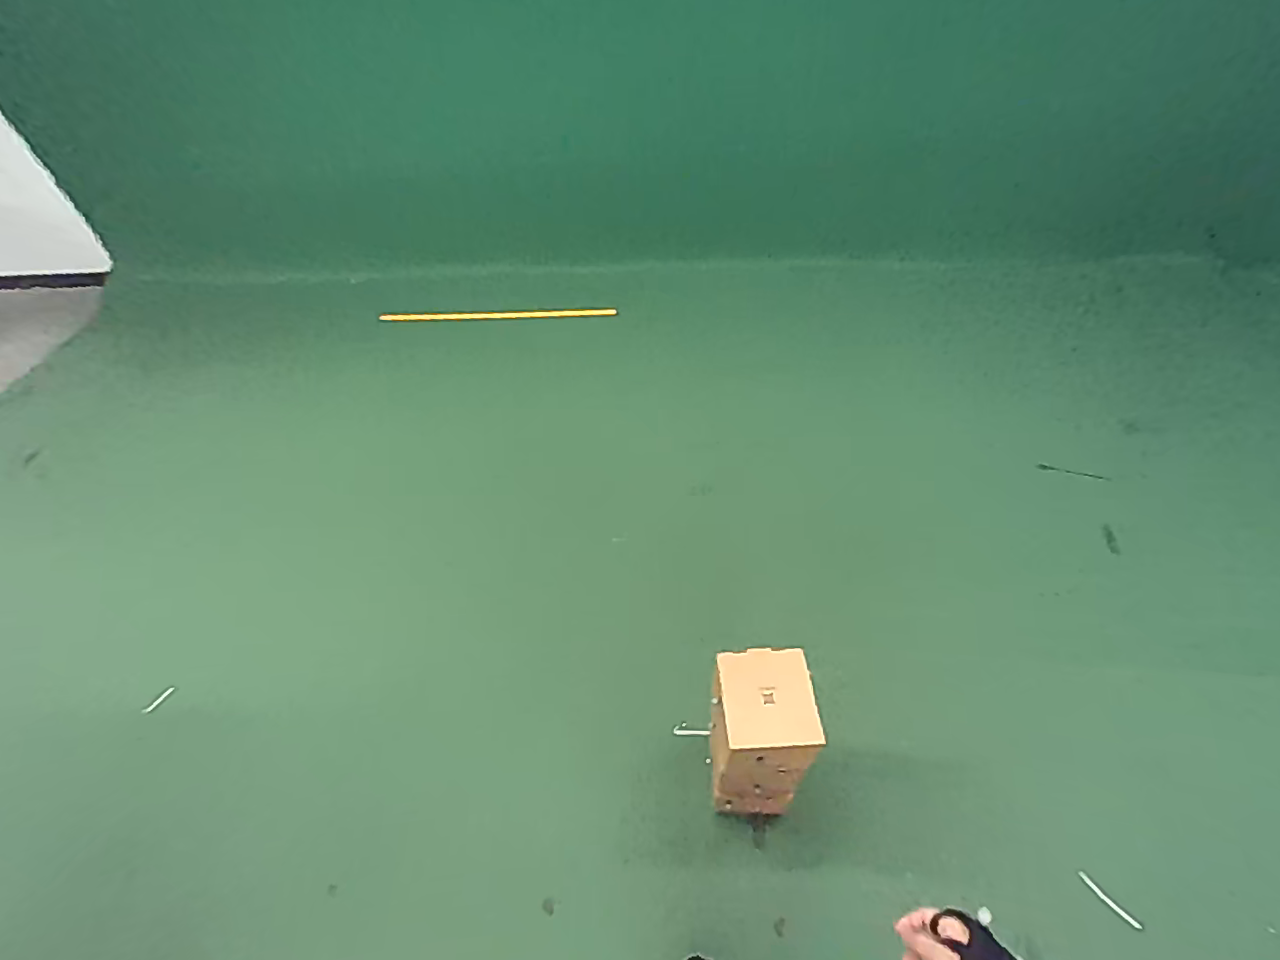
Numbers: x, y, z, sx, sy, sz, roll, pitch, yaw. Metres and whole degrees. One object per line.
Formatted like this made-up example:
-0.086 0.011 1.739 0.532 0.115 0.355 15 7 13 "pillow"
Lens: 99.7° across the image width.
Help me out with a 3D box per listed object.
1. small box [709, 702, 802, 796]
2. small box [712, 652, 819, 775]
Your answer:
0.238 0.559 1.160 0.168 0.176 0.179 -2 48 3 "small box"
0.230 0.453 1.037 0.168 0.176 0.179 -4 47 1 "small box"
